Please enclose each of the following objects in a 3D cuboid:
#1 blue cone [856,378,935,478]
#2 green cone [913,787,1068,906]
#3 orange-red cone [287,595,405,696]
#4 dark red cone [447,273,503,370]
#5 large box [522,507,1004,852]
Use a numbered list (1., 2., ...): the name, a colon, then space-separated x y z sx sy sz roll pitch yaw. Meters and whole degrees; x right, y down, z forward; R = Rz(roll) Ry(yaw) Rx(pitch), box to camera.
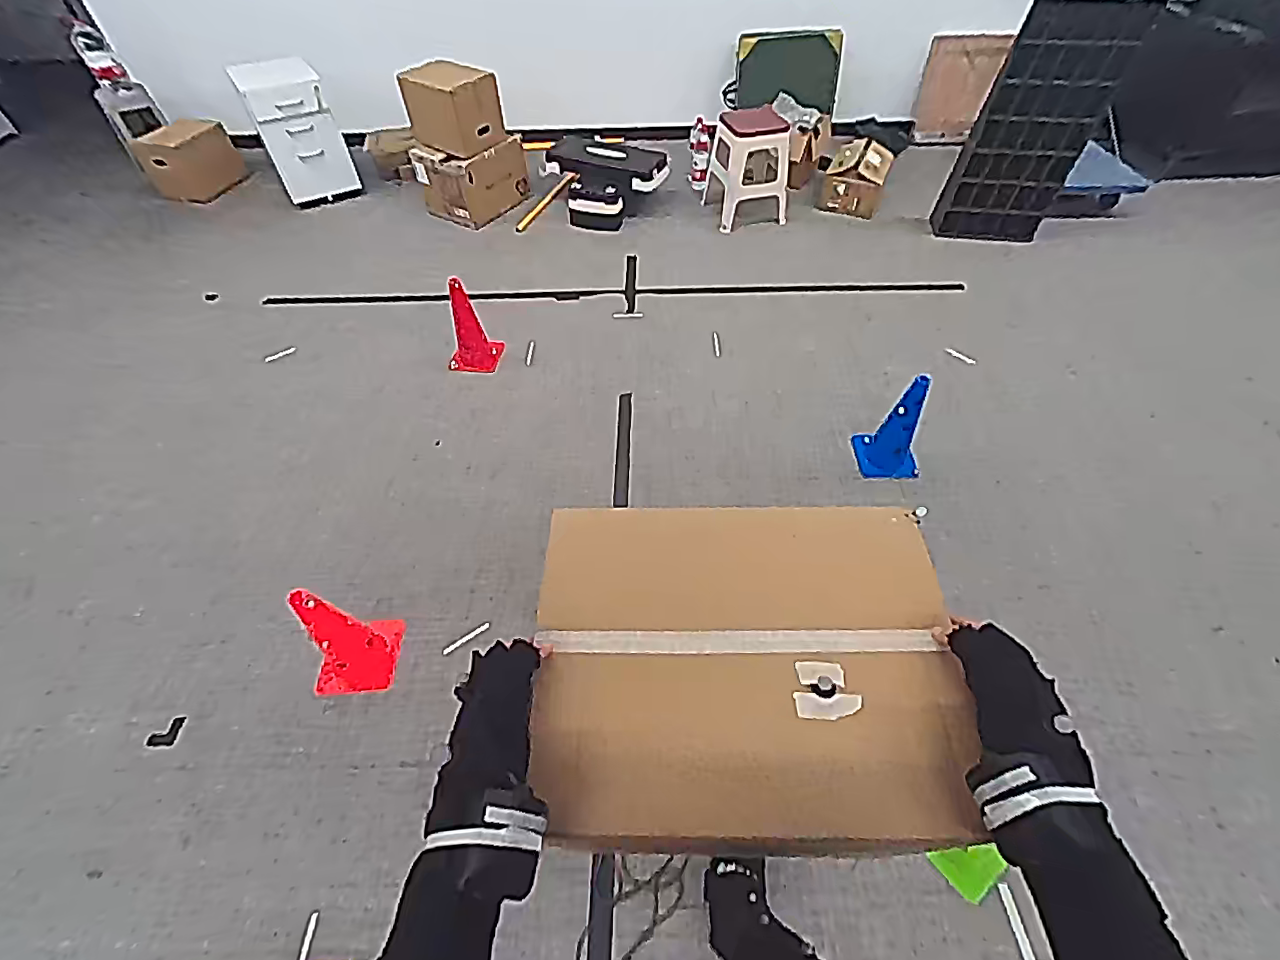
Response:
1. blue cone: 0.872 -0.184 1.791 0.192 0.380 0.193 2 51 2
2. green cone: 0.718 0.674 1.069 0.202 0.368 0.200 -30 57 -23
3. orange-red cone: -0.766 0.386 1.351 0.198 0.360 0.199 -3 52 0
4. dark red cone: -0.694 -0.634 2.155 0.201 0.394 0.202 4 51 4
5. large box: 0.101 0.246 0.647 0.408 0.320 0.320 0 53 2
